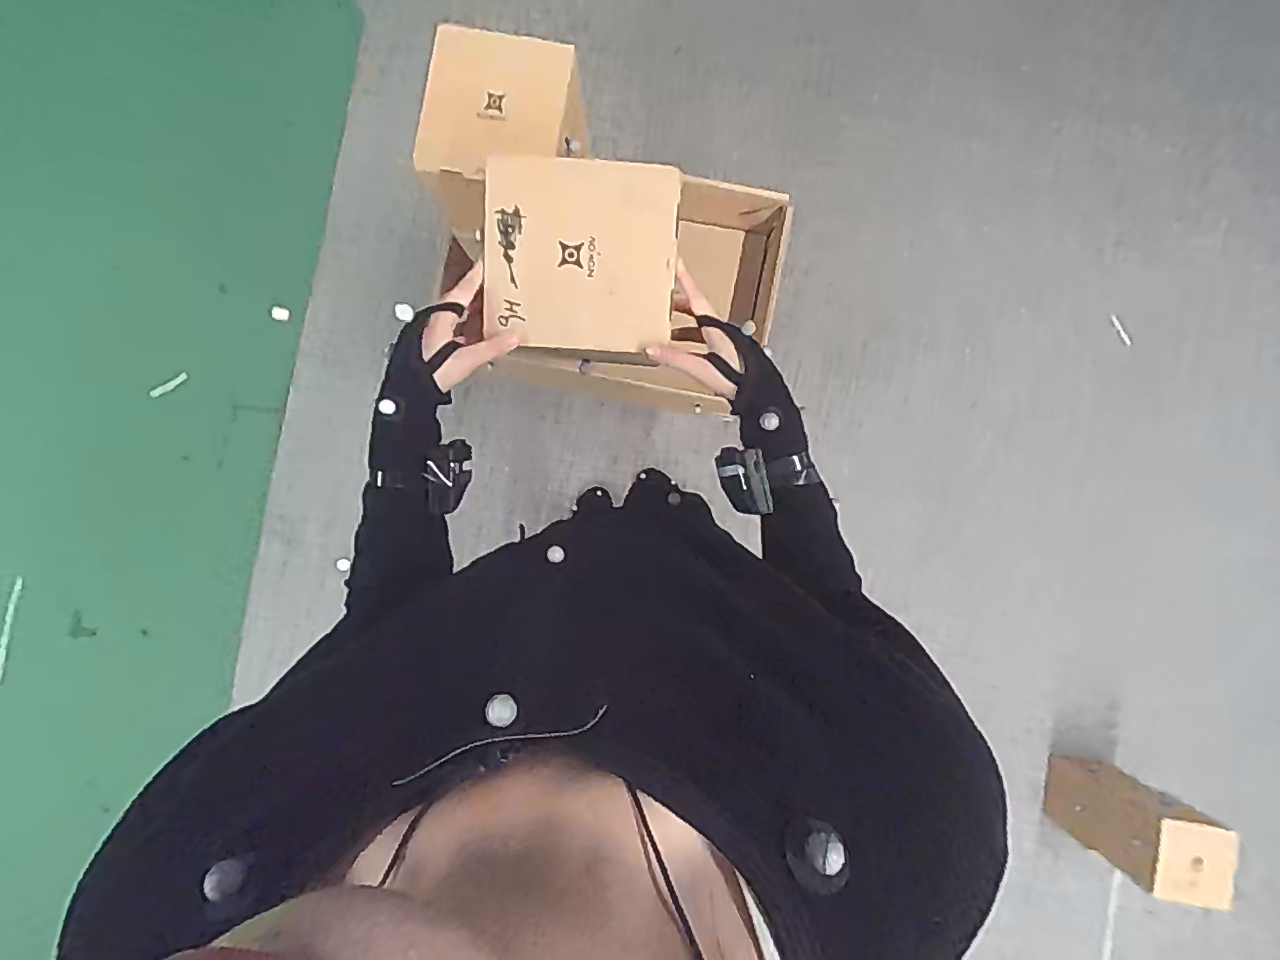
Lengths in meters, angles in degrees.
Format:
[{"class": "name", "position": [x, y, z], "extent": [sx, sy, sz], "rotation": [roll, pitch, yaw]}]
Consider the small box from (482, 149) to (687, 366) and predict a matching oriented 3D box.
[{"class": "small box", "position": [-0.054, -0.212, 0.564], "extent": [0.179, 0.176, 0.168], "rotation": [4, 97, -2]}]

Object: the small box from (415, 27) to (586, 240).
[{"class": "small box", "position": [-0.169, -0.431, 0.712], "extent": [0.168, 0.176, 0.179], "rotation": [9, 89, 1]}]

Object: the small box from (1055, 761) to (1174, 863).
[{"class": "small box", "position": [1.216, 0.855, 1.395], "extent": [0.168, 0.176, 0.179], "rotation": [9, 88, 1]}]

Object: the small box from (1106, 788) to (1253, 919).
[{"class": "small box", "position": [1.216, 0.838, 1.231], "extent": [0.168, 0.176, 0.179], "rotation": [9, 88, 2]}]
